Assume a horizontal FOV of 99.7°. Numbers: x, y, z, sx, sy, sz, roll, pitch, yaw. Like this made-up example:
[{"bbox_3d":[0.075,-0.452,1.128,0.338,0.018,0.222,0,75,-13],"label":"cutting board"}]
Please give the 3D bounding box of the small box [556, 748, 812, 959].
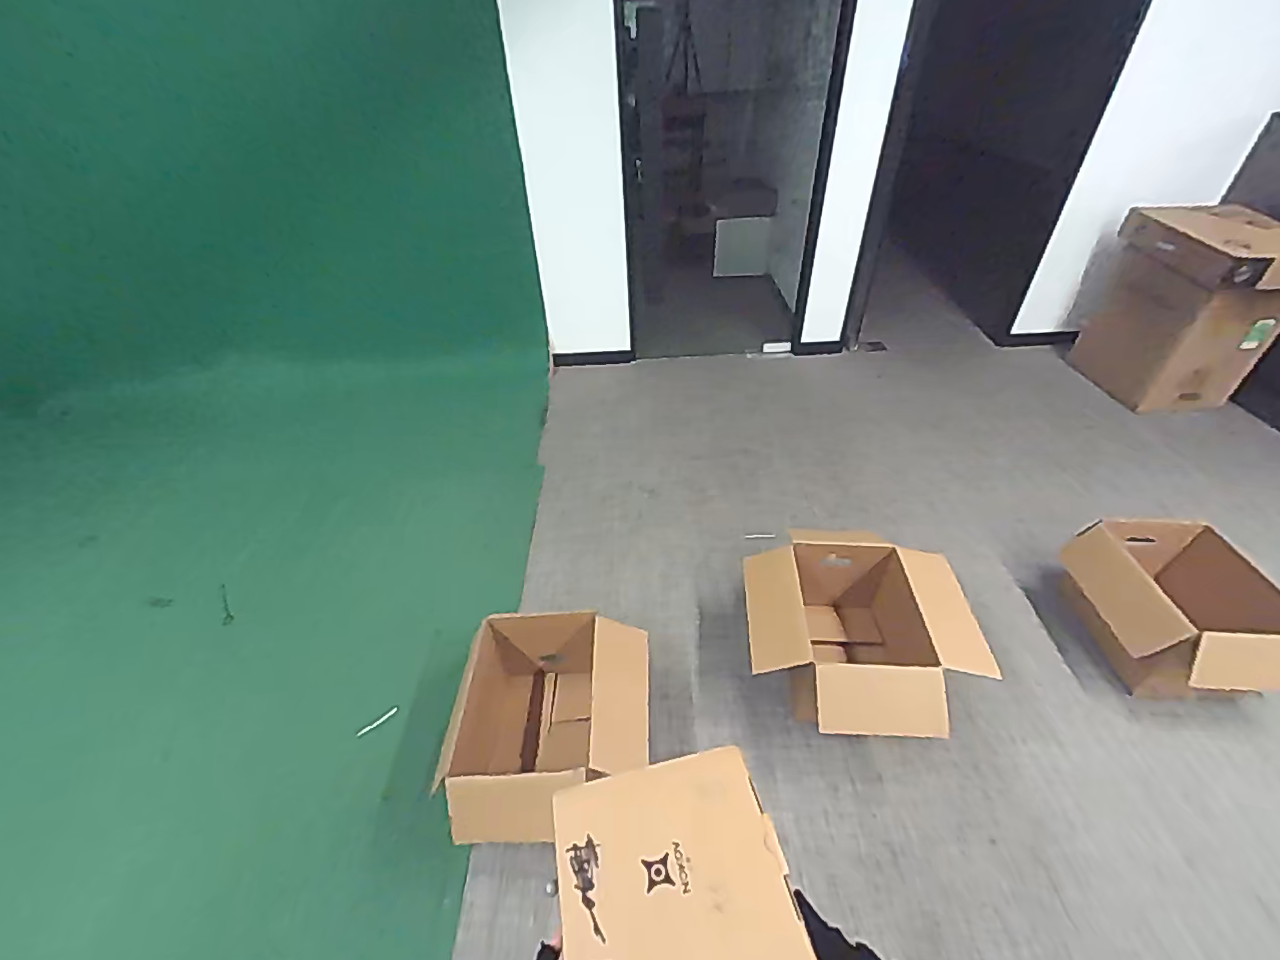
[{"bbox_3d":[0.028,0.372,0.475,0.179,0.176,0.168,-10,36,-6],"label":"small box"}]
